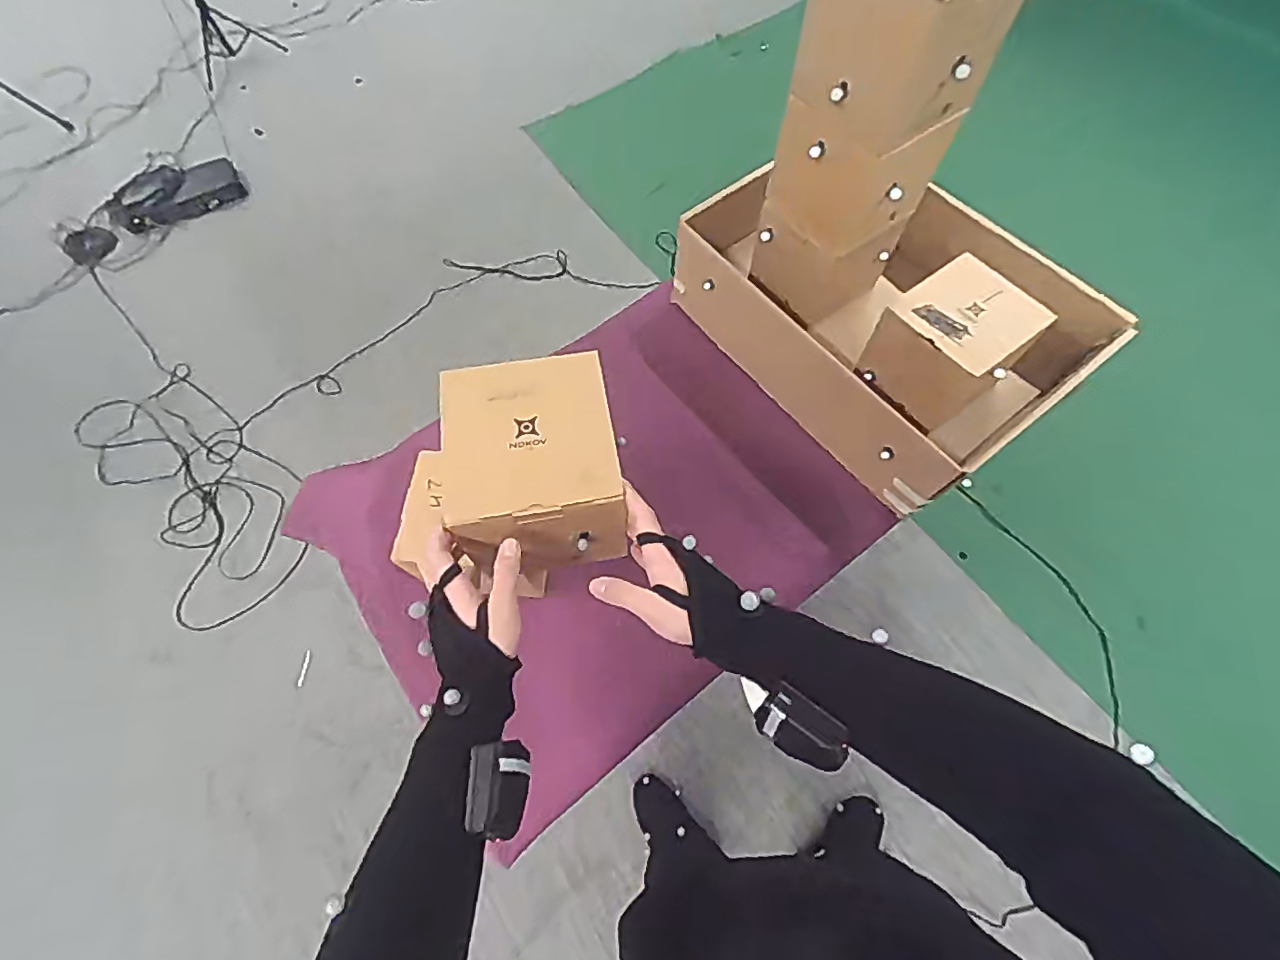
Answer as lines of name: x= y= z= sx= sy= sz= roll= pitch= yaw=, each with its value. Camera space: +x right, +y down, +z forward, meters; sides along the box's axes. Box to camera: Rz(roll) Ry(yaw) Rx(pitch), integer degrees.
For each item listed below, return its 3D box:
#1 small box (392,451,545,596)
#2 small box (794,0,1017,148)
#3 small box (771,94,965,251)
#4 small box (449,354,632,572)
small box: x=-0.230 y=0.072 z=0.807 sx=0.179 sy=0.176 sz=0.168 roll=4 pitch=65 yaw=3
small box: x=0.318 y=-0.541 z=0.655 sx=0.168 sy=0.176 sz=0.179 roll=-33 pitch=70 yaw=-12
small box: x=0.323 y=-0.474 z=0.805 sx=0.168 sy=0.176 sz=0.179 roll=-34 pitch=69 yaw=-12
small box: x=-0.101 y=-0.008 z=0.592 sx=0.168 sy=0.176 sz=0.179 roll=-9 pitch=64 yaw=-6
